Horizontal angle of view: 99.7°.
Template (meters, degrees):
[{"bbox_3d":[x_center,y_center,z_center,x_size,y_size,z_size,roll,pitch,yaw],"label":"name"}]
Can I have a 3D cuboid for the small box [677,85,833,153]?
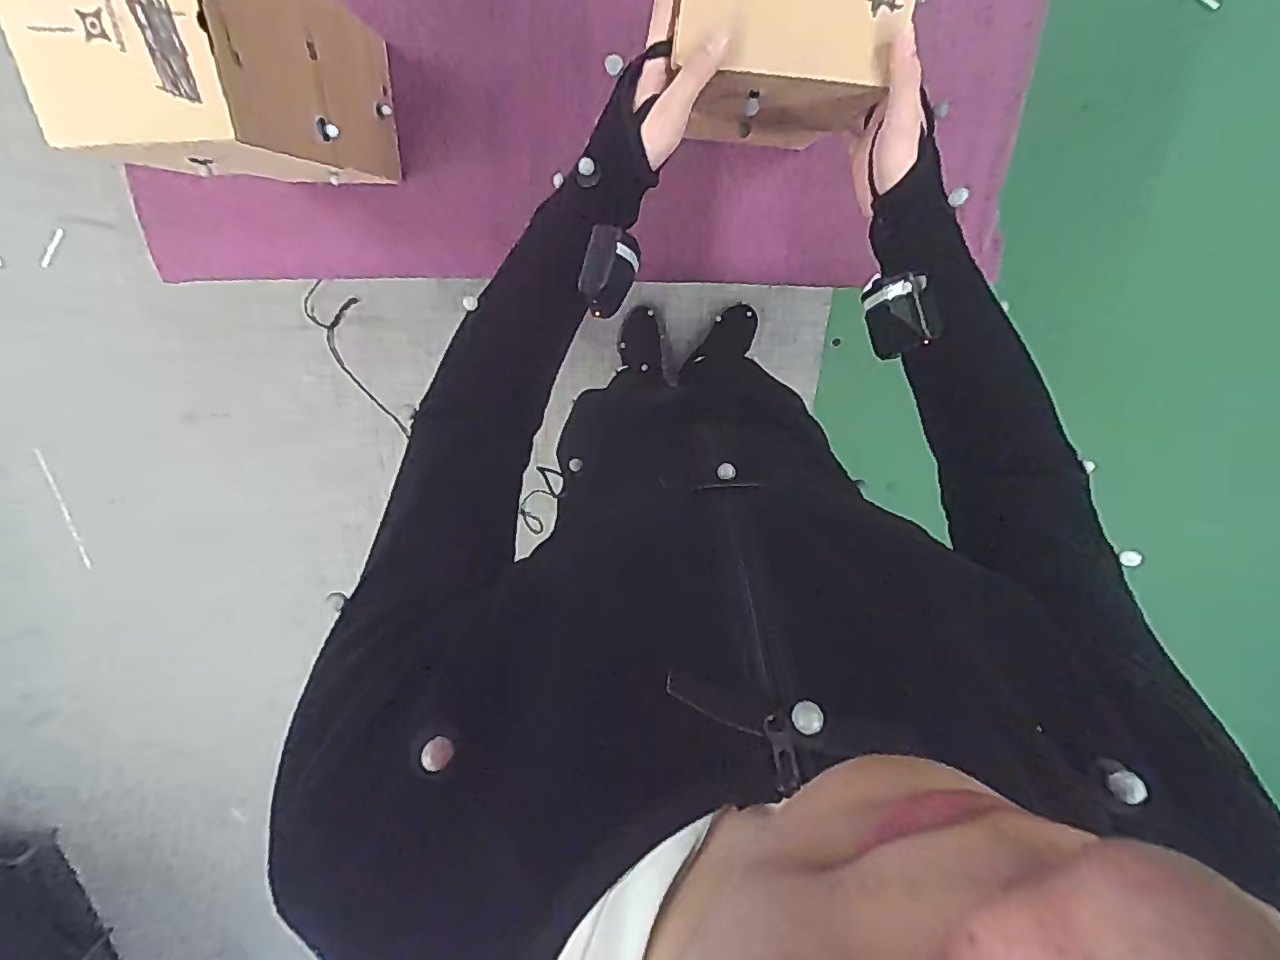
[{"bbox_3d":[0.138,-0.484,0.613,0.179,0.176,0.168,7,113,2],"label":"small box"}]

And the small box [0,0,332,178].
[{"bbox_3d":[-0.419,-0.387,0.503,0.179,0.176,0.168,0,112,3],"label":"small box"}]

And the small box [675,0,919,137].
[{"bbox_3d":[0.129,-0.412,0.465,0.179,0.176,0.168,7,113,2],"label":"small box"}]
